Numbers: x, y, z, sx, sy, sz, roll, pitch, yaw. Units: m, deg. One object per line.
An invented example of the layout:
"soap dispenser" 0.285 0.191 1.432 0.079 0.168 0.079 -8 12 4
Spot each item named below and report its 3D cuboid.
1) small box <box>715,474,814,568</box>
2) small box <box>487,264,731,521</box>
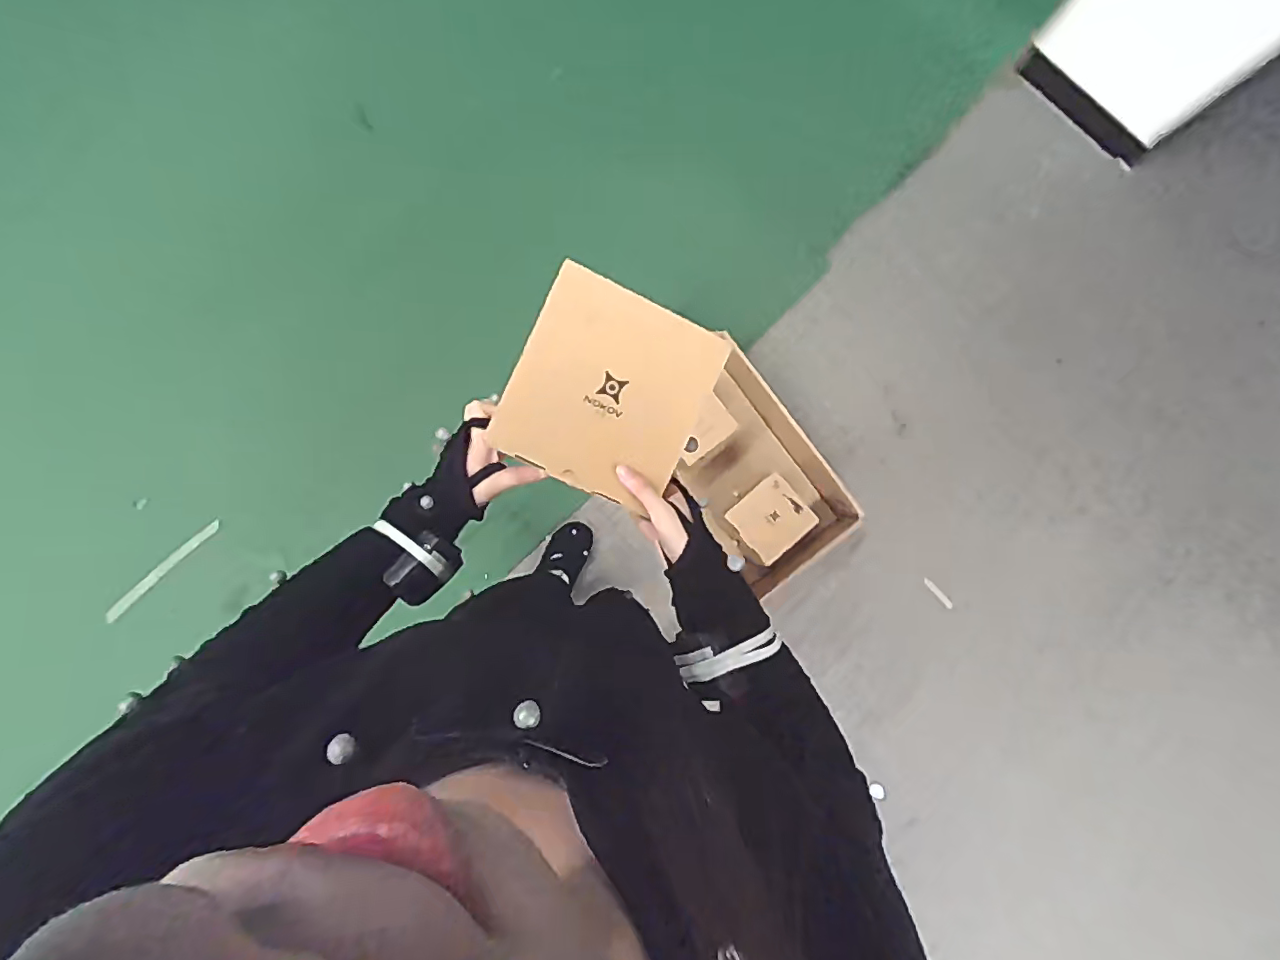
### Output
"small box" 0.311 0.108 1.403 0.179 0.176 0.168 -39 87 -5
"small box" -0.036 -0.083 0.554 0.168 0.176 0.179 25 93 -8
